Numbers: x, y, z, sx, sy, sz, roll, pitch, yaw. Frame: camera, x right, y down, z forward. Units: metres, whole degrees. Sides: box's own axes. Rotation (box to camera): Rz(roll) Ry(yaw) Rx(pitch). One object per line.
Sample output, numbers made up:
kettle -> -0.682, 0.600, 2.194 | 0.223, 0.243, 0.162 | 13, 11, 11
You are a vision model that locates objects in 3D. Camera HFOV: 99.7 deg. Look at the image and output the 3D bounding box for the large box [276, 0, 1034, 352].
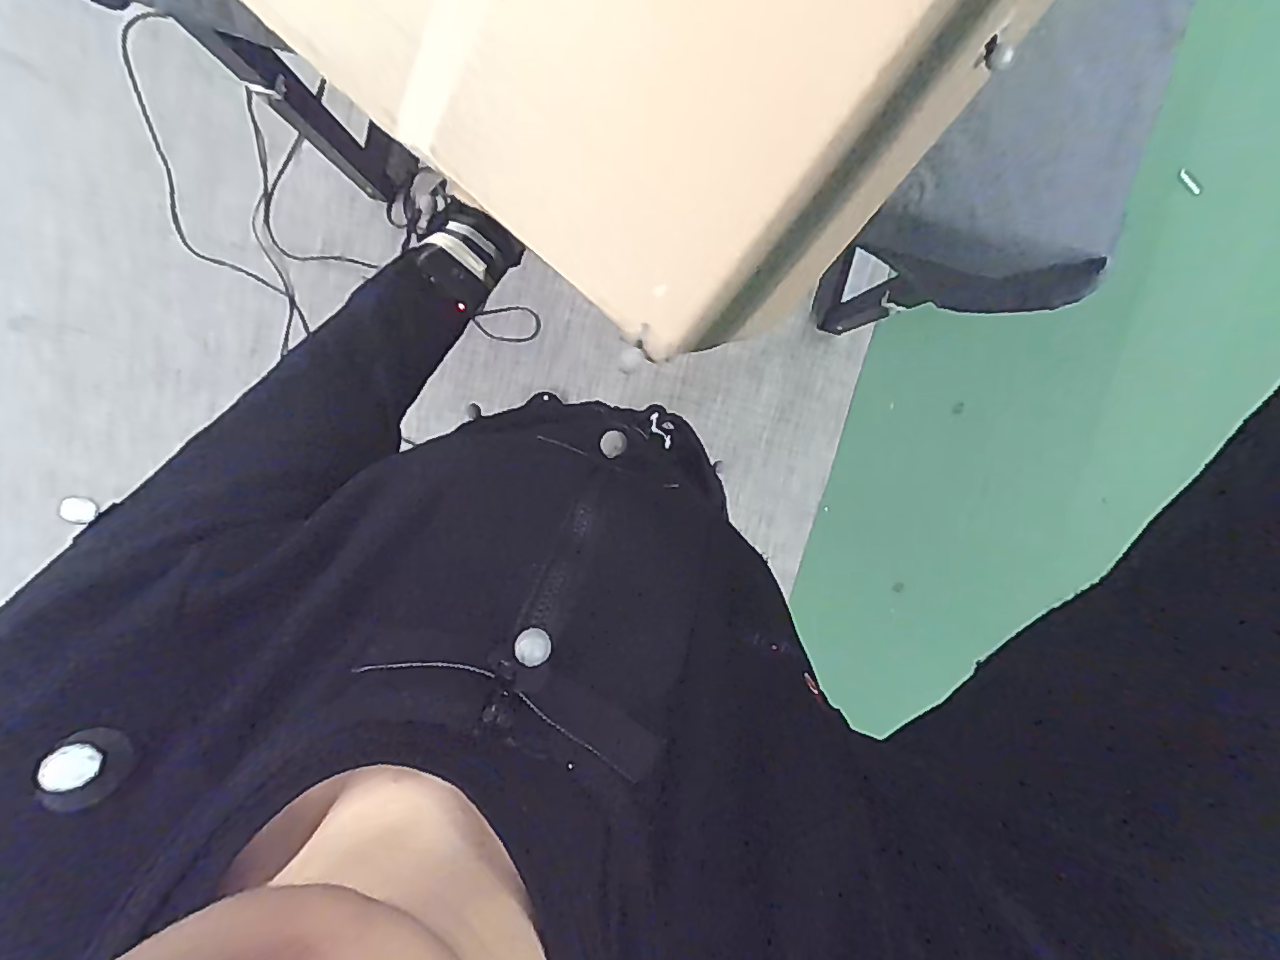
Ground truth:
large box -> 0.077, -0.344, 0.312 | 0.320, 0.320, 0.408 | 41, 119, 6
